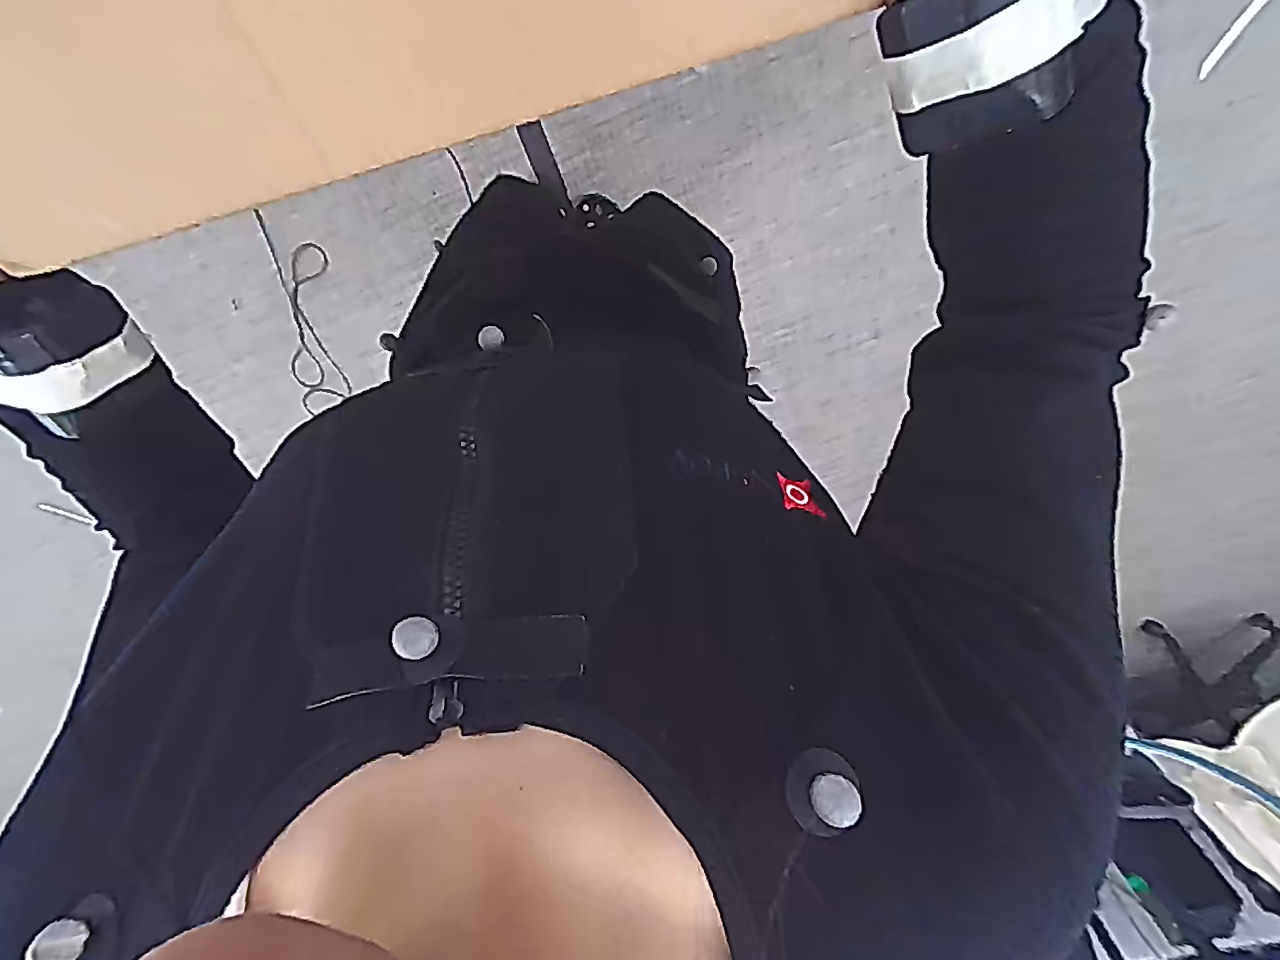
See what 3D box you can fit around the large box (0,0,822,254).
[{"bbox_3d":[-0.146,-0.360,0.216,0.408,0.320,0.320,-13,139,6],"label":"large box"}]
